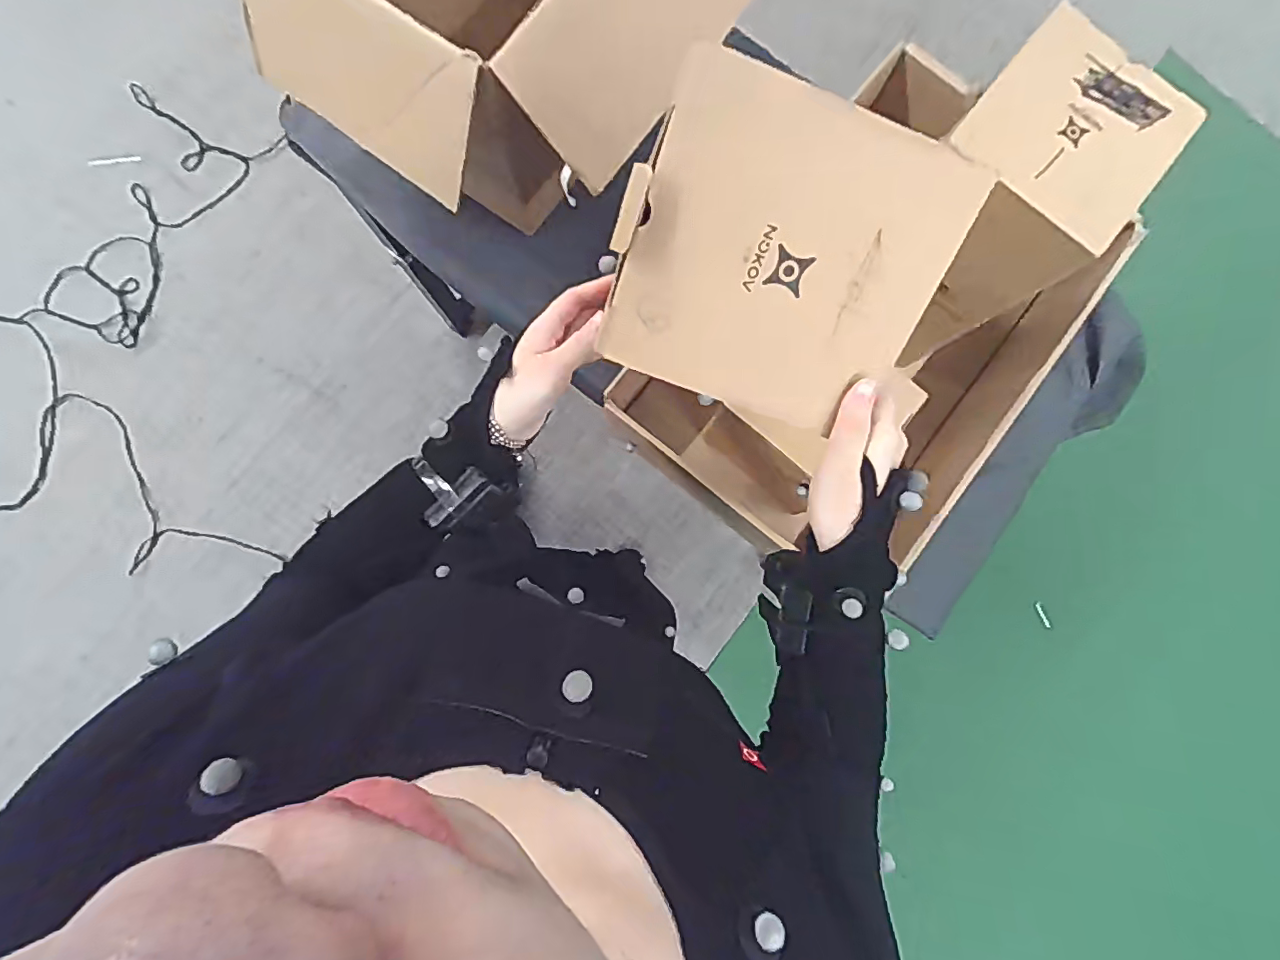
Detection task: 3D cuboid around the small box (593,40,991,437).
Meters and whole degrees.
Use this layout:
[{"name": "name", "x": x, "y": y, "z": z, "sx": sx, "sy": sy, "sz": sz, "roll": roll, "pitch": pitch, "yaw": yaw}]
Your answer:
[{"name": "small box", "x": 0.079, "y": -0.155, "z": 0.378, "sx": 0.179, "sy": 0.176, "sz": 0.168, "roll": 17, "pitch": 115, "yaw": -7}]

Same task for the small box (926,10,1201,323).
[{"name": "small box", "x": 0.378, "y": -0.297, "z": 0.551, "sx": 0.168, "sy": 0.176, "sz": 0.179, "roll": 39, "pitch": 86, "yaw": 2}]
